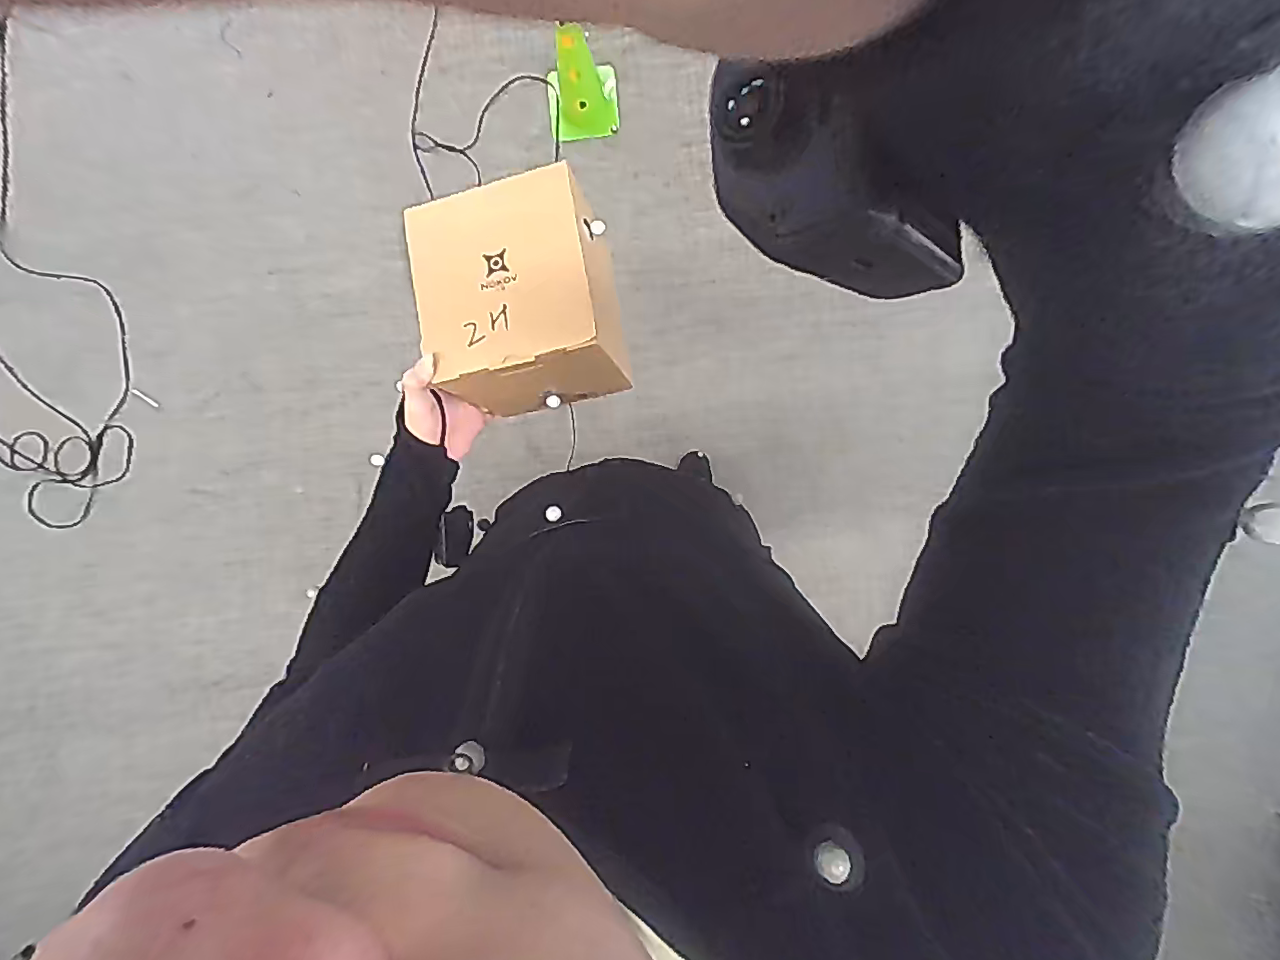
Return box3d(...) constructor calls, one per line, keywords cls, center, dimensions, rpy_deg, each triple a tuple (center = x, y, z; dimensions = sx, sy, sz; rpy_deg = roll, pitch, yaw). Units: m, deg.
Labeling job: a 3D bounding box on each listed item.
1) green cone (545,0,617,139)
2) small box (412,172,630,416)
box3d(cls="green cone", center=(-0.180, -1.105, 1.412), dimensions=(0.202, 0.368, 0.200), rpy_deg=(-6, 92, 3))
box3d(cls="small box", center=(-0.115, -0.181, 0.580), dimensions=(0.168, 0.176, 0.179), rpy_deg=(-11, 85, 9))
